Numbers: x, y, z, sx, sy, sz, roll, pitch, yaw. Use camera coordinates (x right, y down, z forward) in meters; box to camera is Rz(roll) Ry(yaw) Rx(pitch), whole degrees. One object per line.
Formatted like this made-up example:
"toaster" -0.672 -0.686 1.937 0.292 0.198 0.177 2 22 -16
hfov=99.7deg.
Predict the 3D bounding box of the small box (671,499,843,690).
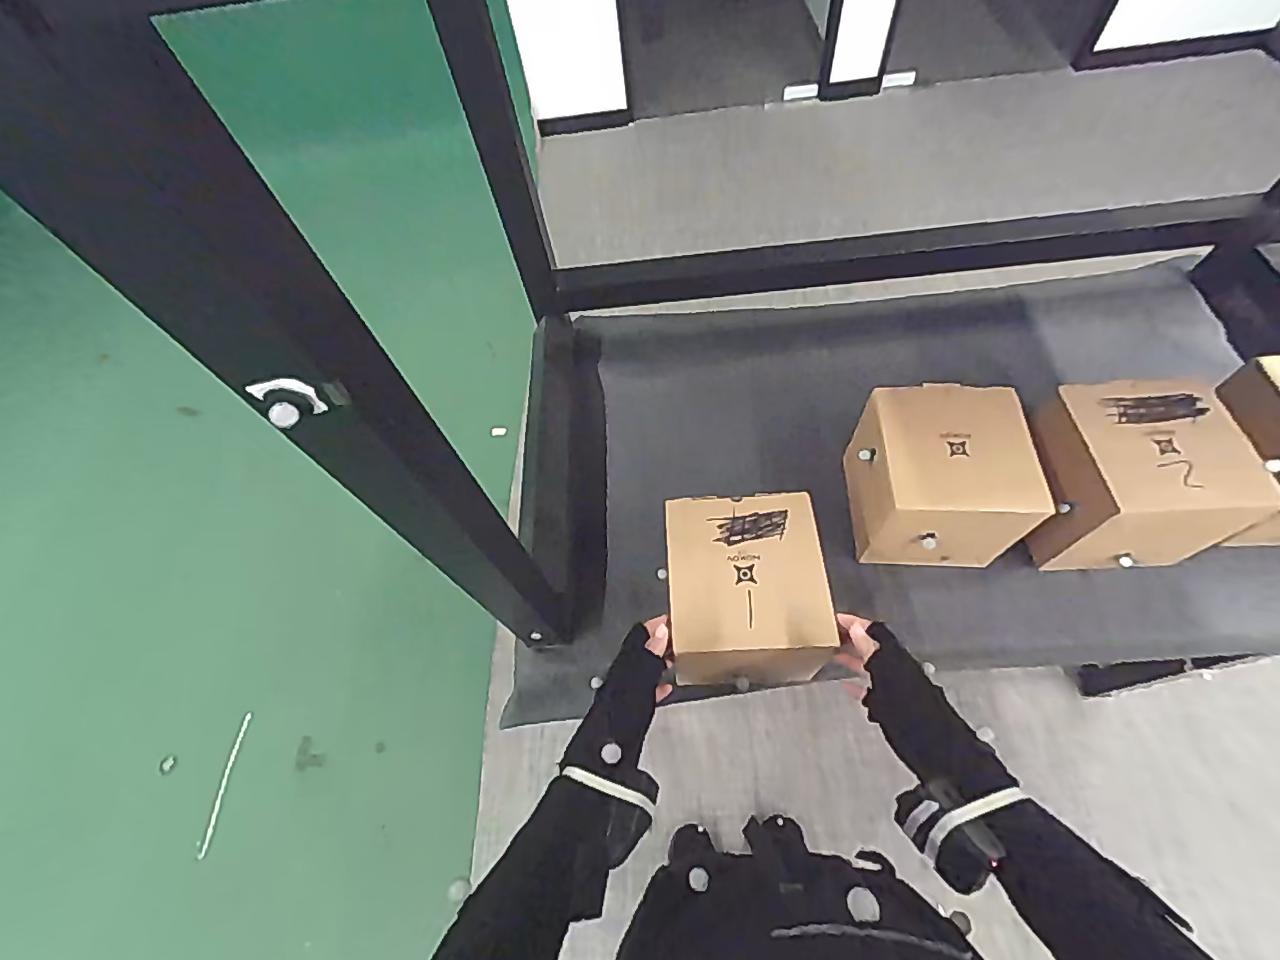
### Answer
"small box" 0.124 0.141 0.643 0.168 0.176 0.179 -4 59 4

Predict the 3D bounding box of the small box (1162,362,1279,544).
"small box" 0.817 -0.027 0.661 0.168 0.176 0.179 -2 58 6

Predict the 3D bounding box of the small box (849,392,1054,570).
"small box" 0.378 0.007 0.696 0.168 0.176 0.179 1 59 7
